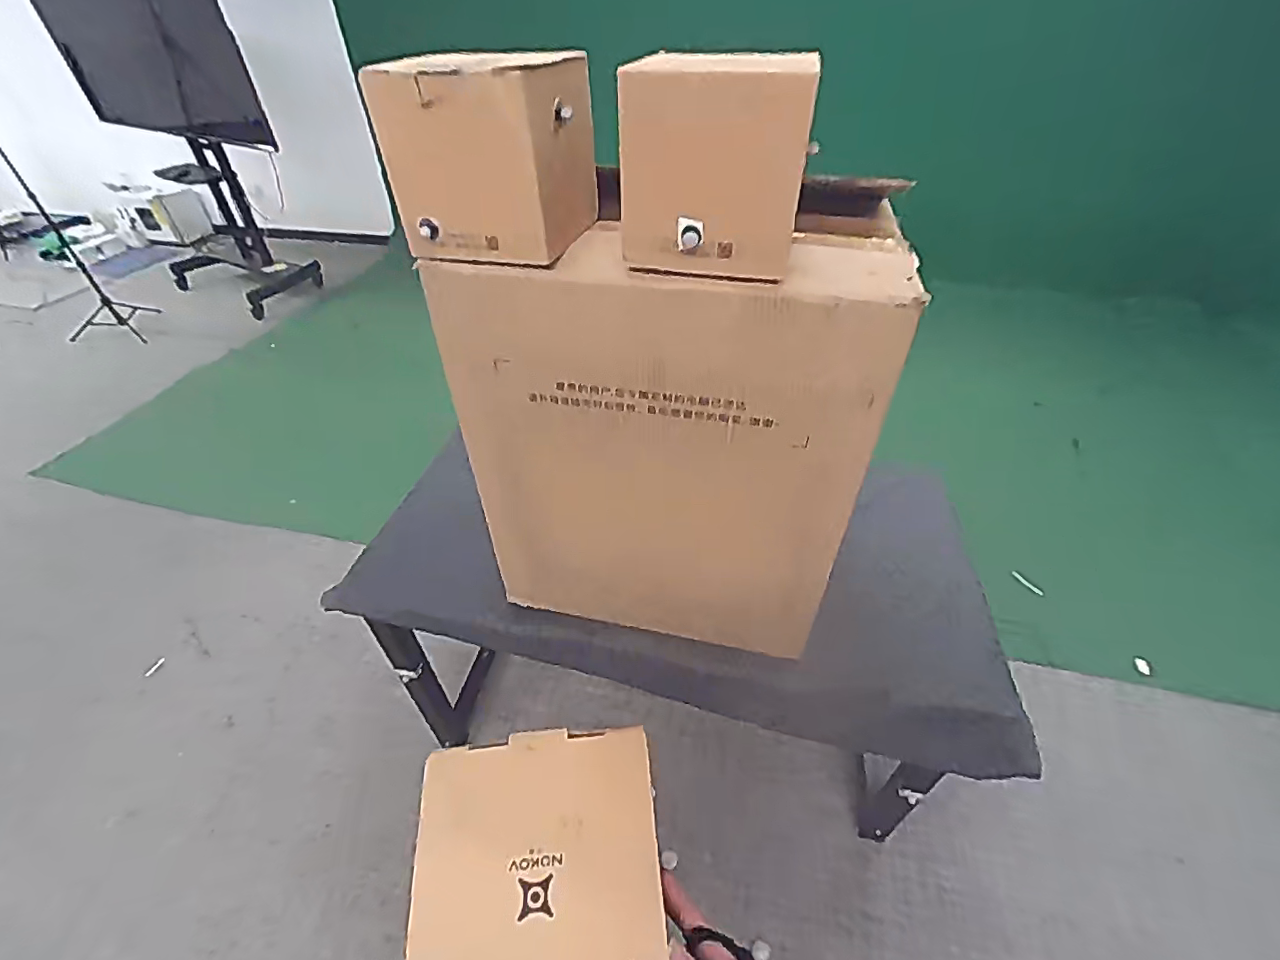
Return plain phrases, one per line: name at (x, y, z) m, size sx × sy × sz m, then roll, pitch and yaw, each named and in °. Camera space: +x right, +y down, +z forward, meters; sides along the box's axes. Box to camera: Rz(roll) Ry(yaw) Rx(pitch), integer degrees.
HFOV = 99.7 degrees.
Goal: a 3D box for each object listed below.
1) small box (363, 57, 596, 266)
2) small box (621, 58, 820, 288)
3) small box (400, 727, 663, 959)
small box at (-0.152, -0.347, 0.591) m, size 0.168 × 0.176 × 0.179 m, roll 9°, pitch 42°, yaw 12°
small box at (0.082, -0.315, 0.549) m, size 0.168 × 0.176 × 0.179 m, roll 8°, pitch 43°, yaw 11°
small box at (-0.070, 0.312, 0.427) m, size 0.168 × 0.176 × 0.179 m, roll -5°, pitch 55°, yaw -2°
